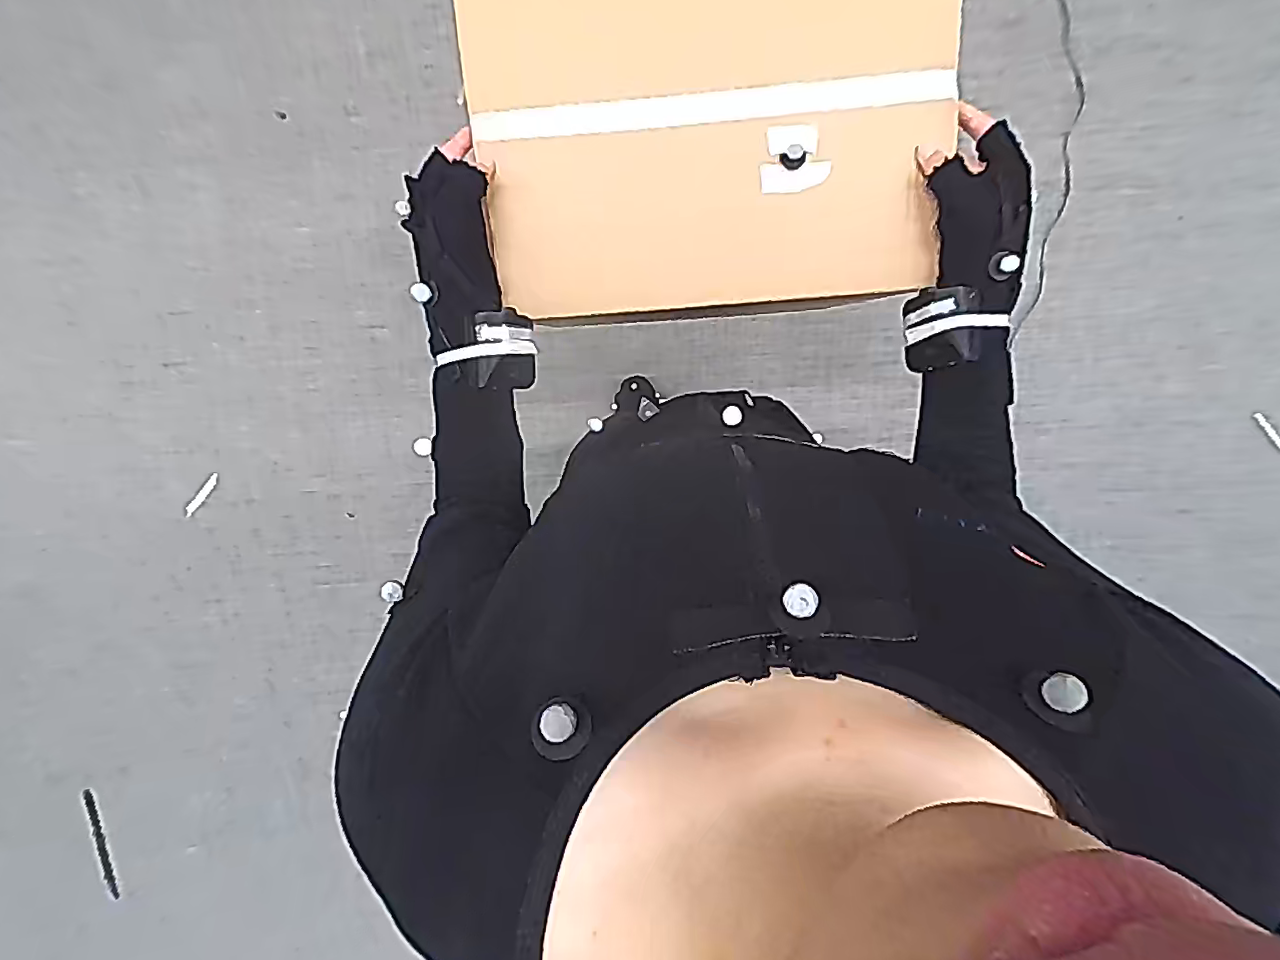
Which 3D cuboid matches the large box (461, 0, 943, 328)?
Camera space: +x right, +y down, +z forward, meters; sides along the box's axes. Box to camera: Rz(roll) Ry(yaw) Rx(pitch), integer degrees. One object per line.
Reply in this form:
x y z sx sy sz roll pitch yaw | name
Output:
0.056 -0.354 0.611 0.408 0.320 0.320 -4 104 1 | large box
